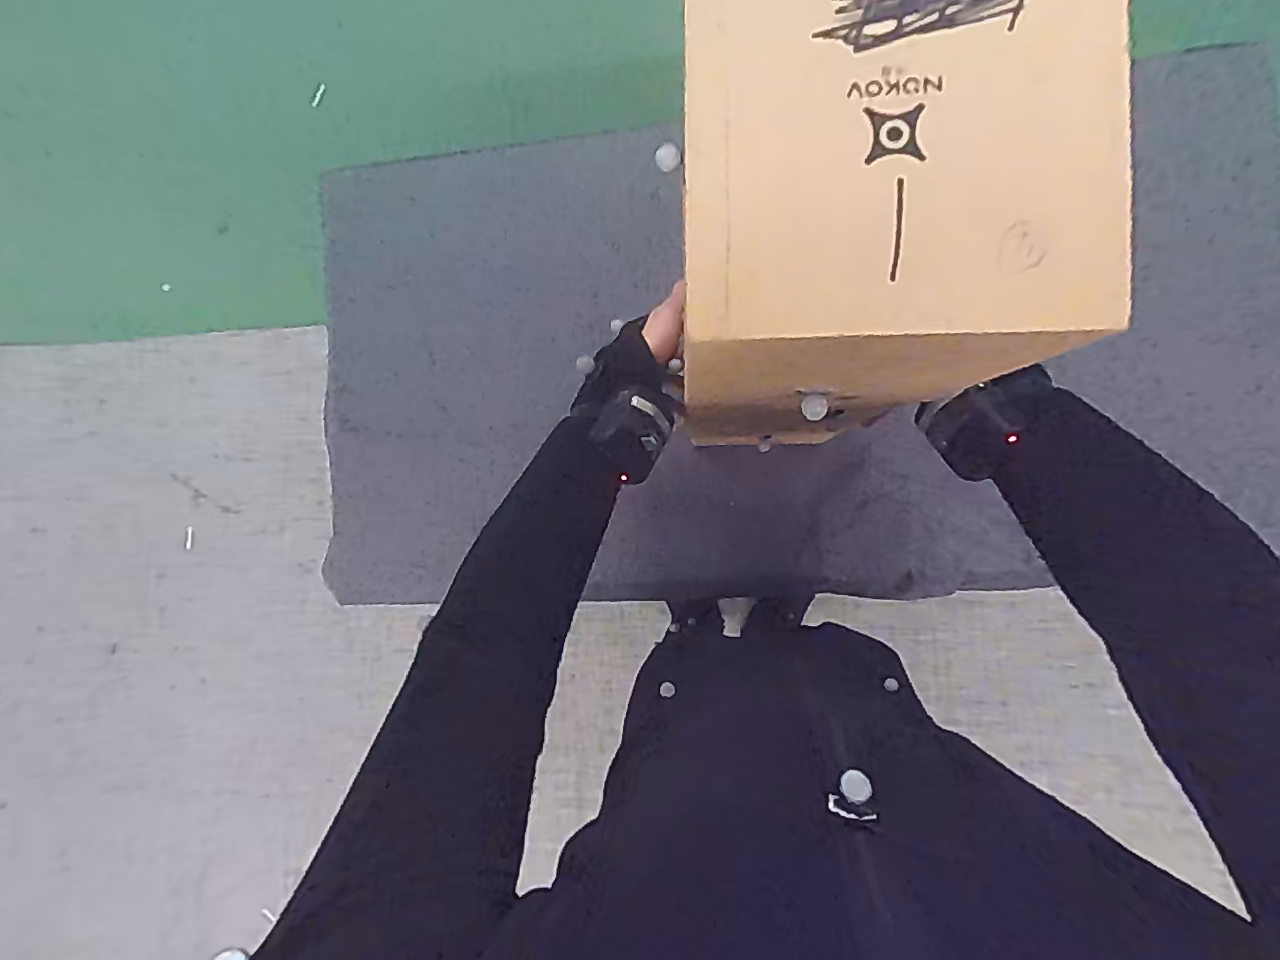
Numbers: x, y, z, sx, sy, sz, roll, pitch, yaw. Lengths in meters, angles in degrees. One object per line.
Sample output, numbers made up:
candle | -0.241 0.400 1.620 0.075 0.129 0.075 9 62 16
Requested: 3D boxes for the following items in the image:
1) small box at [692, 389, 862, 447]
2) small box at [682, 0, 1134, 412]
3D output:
small box | 0.143 -0.129 0.611 0.168 0.176 0.179 -1 88 7
small box | 0.106 -0.135 0.286 0.168 0.176 0.179 0 90 6
